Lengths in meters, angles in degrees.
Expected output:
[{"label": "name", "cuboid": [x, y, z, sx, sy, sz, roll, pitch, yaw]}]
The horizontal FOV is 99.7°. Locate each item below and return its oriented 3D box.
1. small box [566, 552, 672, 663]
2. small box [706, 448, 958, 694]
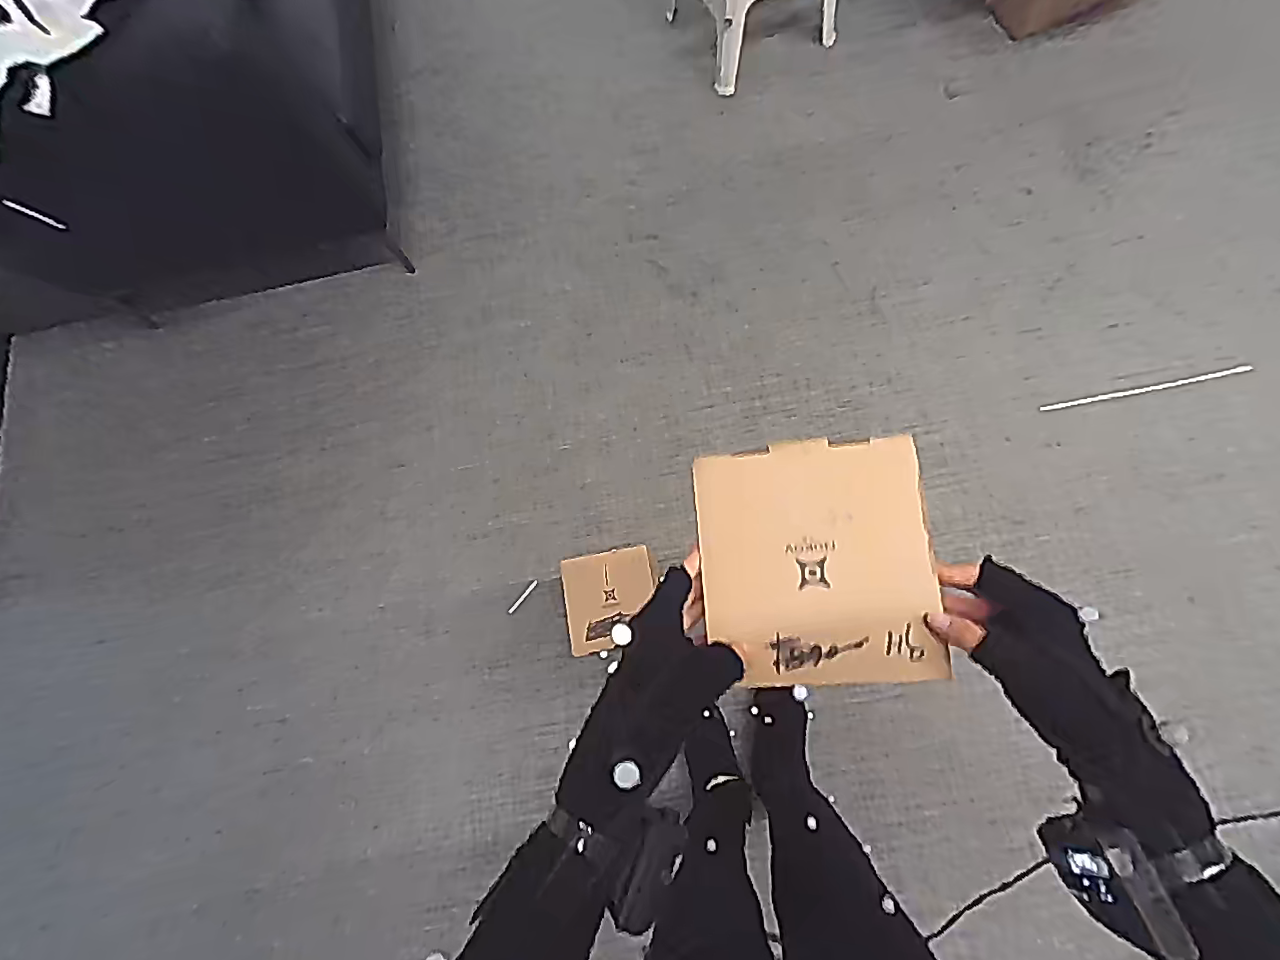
[{"label": "small box", "cuboid": [-0.034, 0.245, 1.045, 0.168, 0.176, 0.179, -11, 74, 4]}, {"label": "small box", "cuboid": [0.150, 0.080, 0.477, 0.168, 0.176, 0.179, -6, 80, 11]}]
